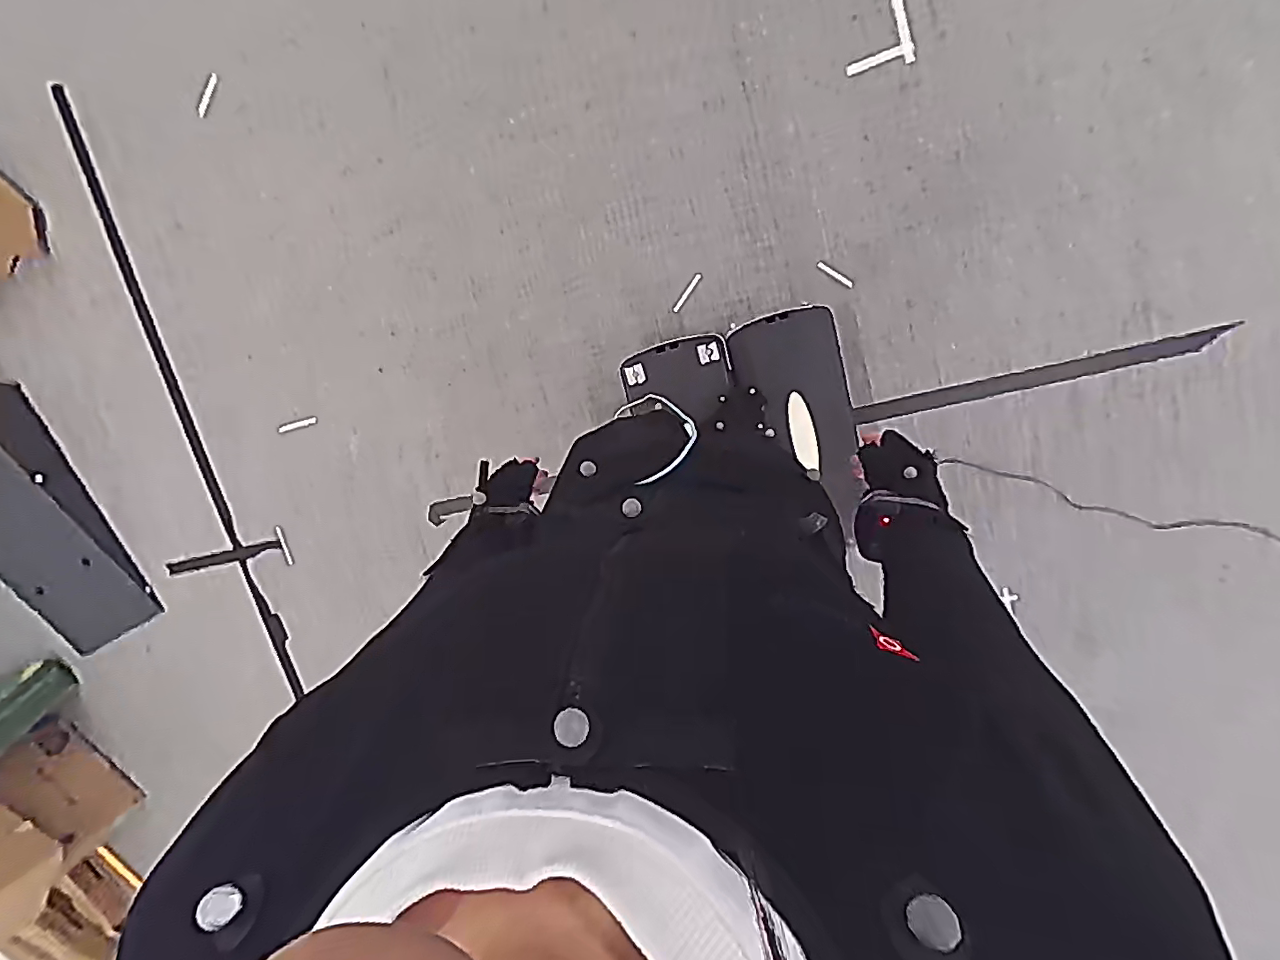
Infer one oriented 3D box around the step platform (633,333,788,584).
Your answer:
[{"bbox_3d":[0.199,-0.053,1.509,0.286,0.204,0.684,-14,98,12],"label":"step platform"}]
